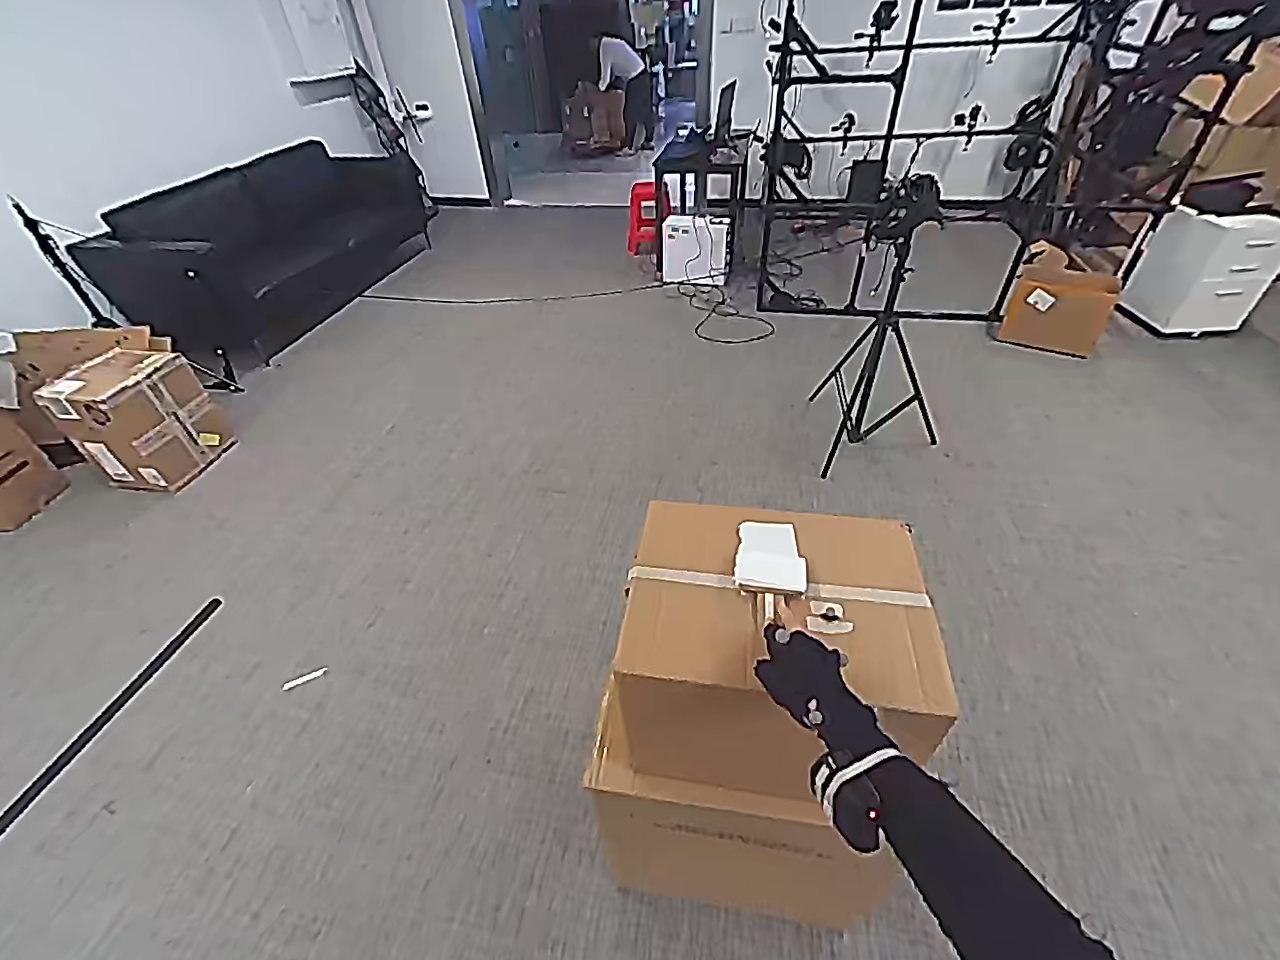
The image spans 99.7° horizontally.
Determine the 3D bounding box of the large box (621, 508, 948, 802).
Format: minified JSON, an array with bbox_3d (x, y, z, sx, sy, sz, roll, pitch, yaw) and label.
[{"bbox_3d":[0.195,0.271,0.869,0.408,0.320,0.320,5,42,8],"label":"large box"}]
